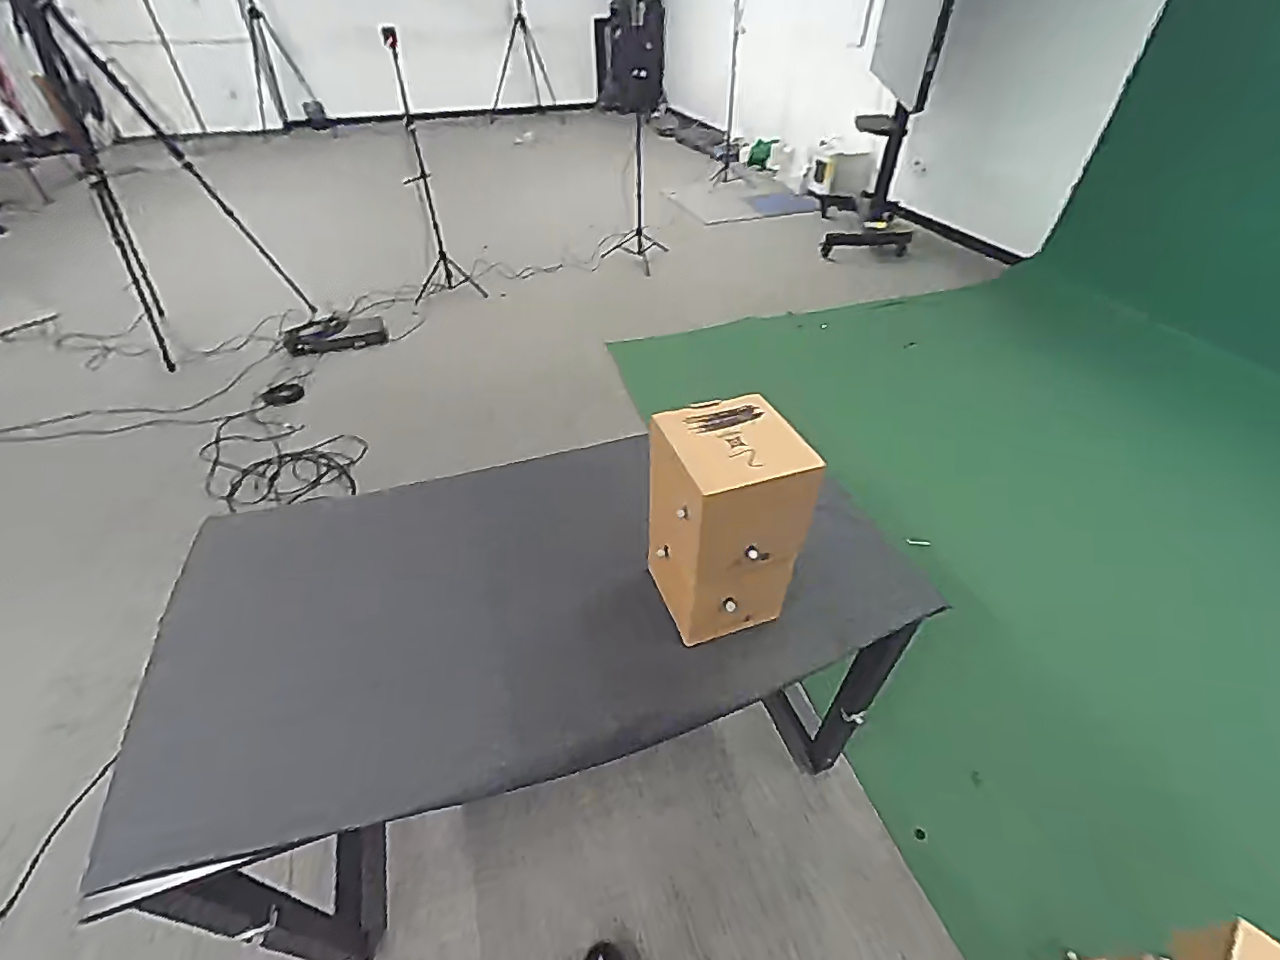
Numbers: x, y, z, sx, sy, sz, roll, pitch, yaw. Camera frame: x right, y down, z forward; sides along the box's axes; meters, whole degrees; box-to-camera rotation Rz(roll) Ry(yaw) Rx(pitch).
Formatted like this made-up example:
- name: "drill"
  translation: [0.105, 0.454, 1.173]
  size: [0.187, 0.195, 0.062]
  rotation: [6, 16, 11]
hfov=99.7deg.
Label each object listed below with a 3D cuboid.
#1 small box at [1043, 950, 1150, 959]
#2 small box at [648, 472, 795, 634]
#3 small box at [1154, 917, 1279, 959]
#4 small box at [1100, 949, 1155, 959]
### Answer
- name: "small box"
  translation: [0.861, 0.988, 0.994]
  size: [0.179, 0.176, 0.168]
  rotation: [-2, 44, -2]
- name: "small box"
  translation: [0.118, 0.120, 0.853]
  size: [0.168, 0.176, 0.179]
  rotation: [-14, 43, -14]
- name: "small box"
  translation: [0.863, 0.767, 0.753]
  size: [0.168, 0.176, 0.179]
  rotation: [-33, 51, -28]
- name: "small box"
  translation: [0.866, 0.892, 0.860]
  size: [0.179, 0.176, 0.168]
  rotation: [13, 46, 12]
